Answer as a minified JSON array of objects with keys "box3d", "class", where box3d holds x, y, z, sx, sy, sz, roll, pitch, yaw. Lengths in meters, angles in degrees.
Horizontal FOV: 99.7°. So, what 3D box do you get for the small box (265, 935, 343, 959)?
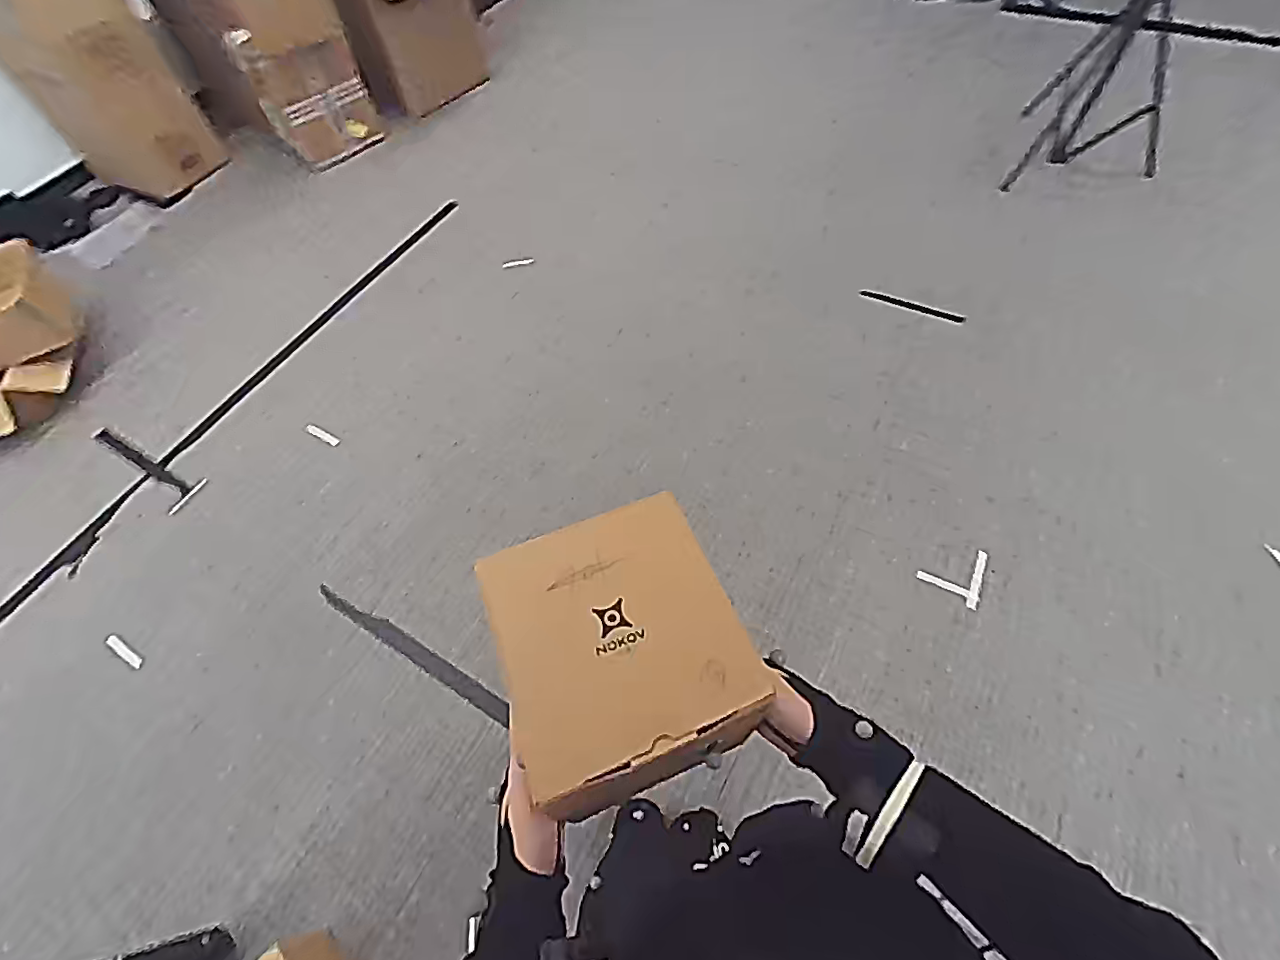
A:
[{"box3d":[-0.681,1.029,1.042,0.168,0.176,0.179,-41,66,-18],"class":"small box"}]
